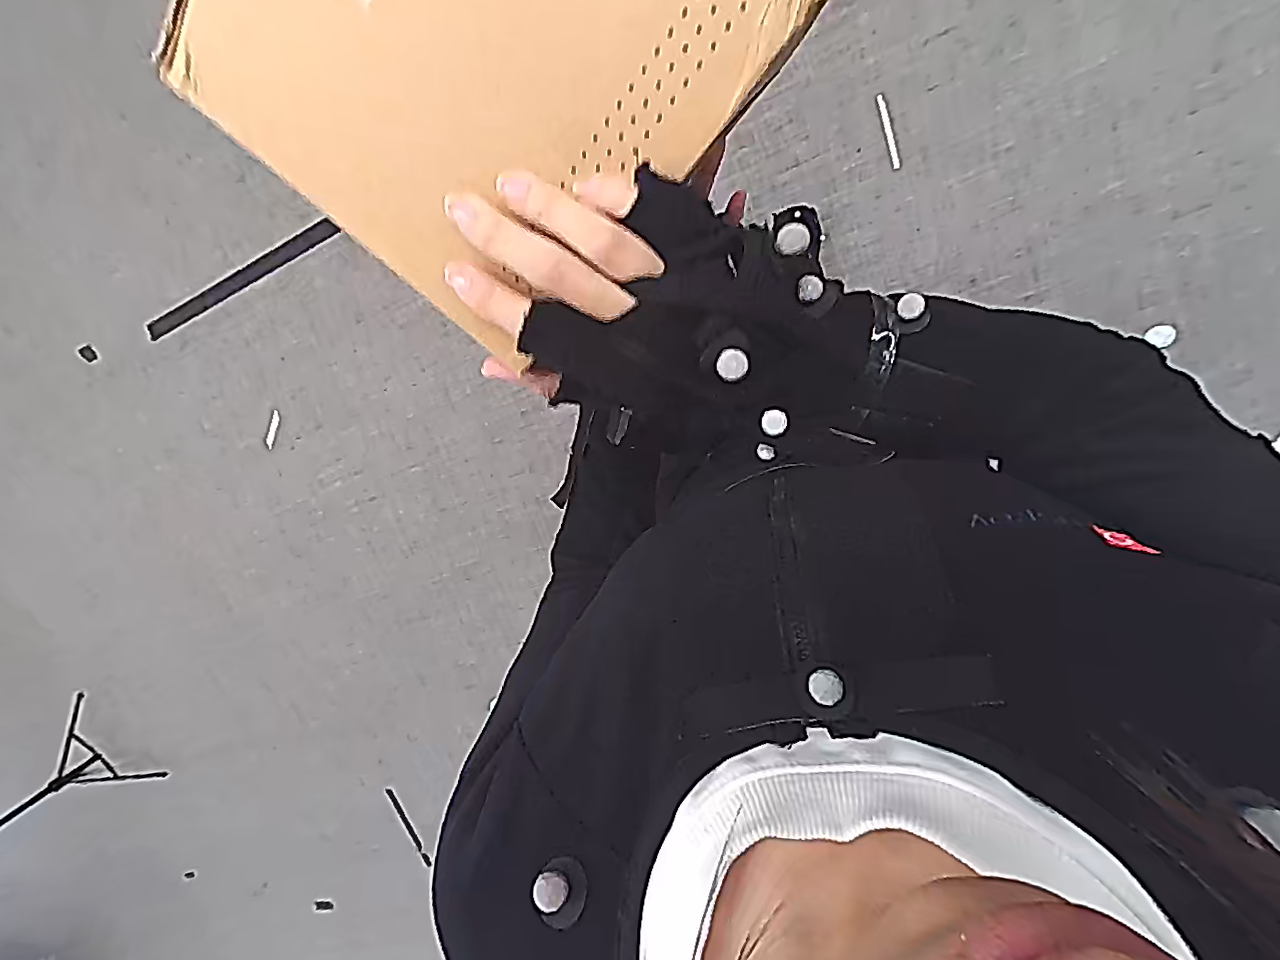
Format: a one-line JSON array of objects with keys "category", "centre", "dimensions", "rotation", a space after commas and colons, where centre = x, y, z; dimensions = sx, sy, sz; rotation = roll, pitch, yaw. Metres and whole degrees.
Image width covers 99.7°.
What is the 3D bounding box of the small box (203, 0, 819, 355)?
[{"category": "small box", "centre": [-0.046, -0.192, 0.263], "dimensions": [0.176, 0.168, 0.179], "rotation": [39, 117, -16]}]
